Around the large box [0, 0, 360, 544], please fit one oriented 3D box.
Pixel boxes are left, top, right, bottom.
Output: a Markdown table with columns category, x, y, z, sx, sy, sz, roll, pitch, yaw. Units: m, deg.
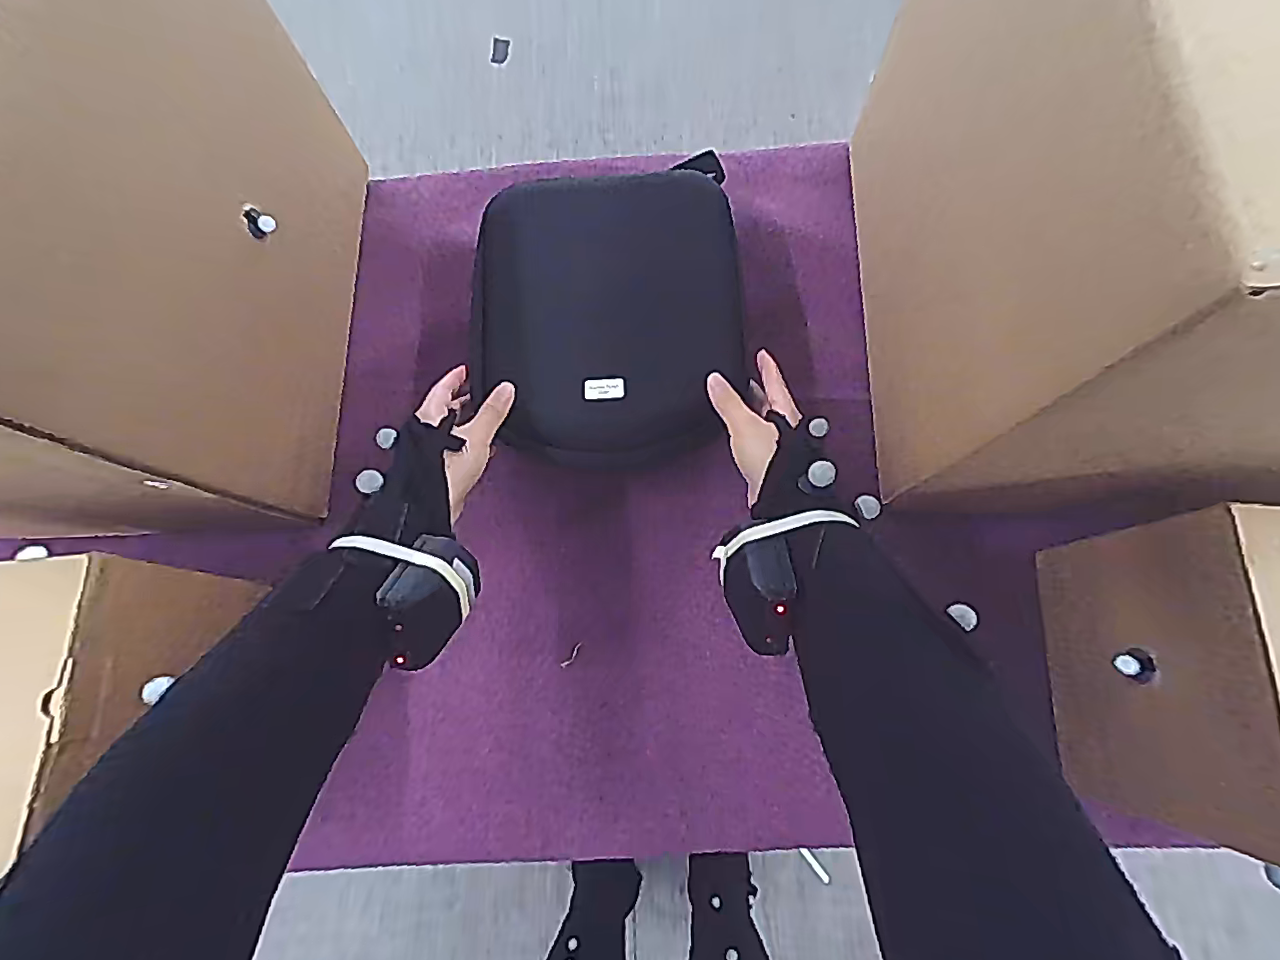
| category | x | y | z | sx | sy | sz | roll | pitch | yaw |
| --- | --- | --- | --- | --- | --- | --- | --- | --- | --- |
| large box | -0.448 | -0.176 | 0.412 | 0.320 | 0.320 | 0.408 | -4 | 76 | 1 |
